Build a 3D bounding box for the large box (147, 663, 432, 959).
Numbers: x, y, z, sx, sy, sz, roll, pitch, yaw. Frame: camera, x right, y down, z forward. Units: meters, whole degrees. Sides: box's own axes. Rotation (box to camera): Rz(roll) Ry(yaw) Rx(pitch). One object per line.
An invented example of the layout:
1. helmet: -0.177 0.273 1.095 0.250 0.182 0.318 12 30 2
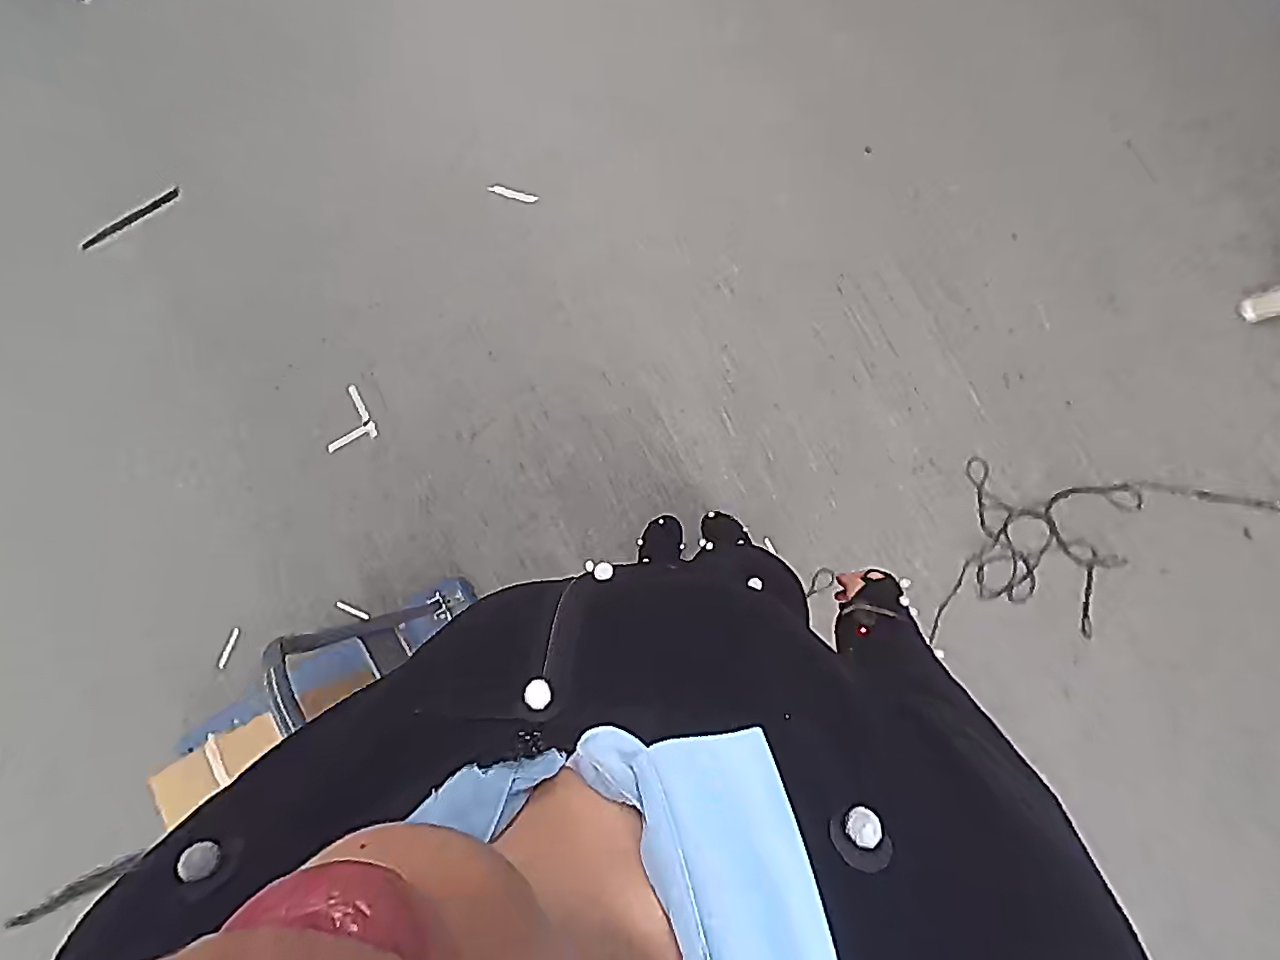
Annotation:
1. large box: -0.733 0.684 1.185 0.320 0.320 0.408 -28 85 3
